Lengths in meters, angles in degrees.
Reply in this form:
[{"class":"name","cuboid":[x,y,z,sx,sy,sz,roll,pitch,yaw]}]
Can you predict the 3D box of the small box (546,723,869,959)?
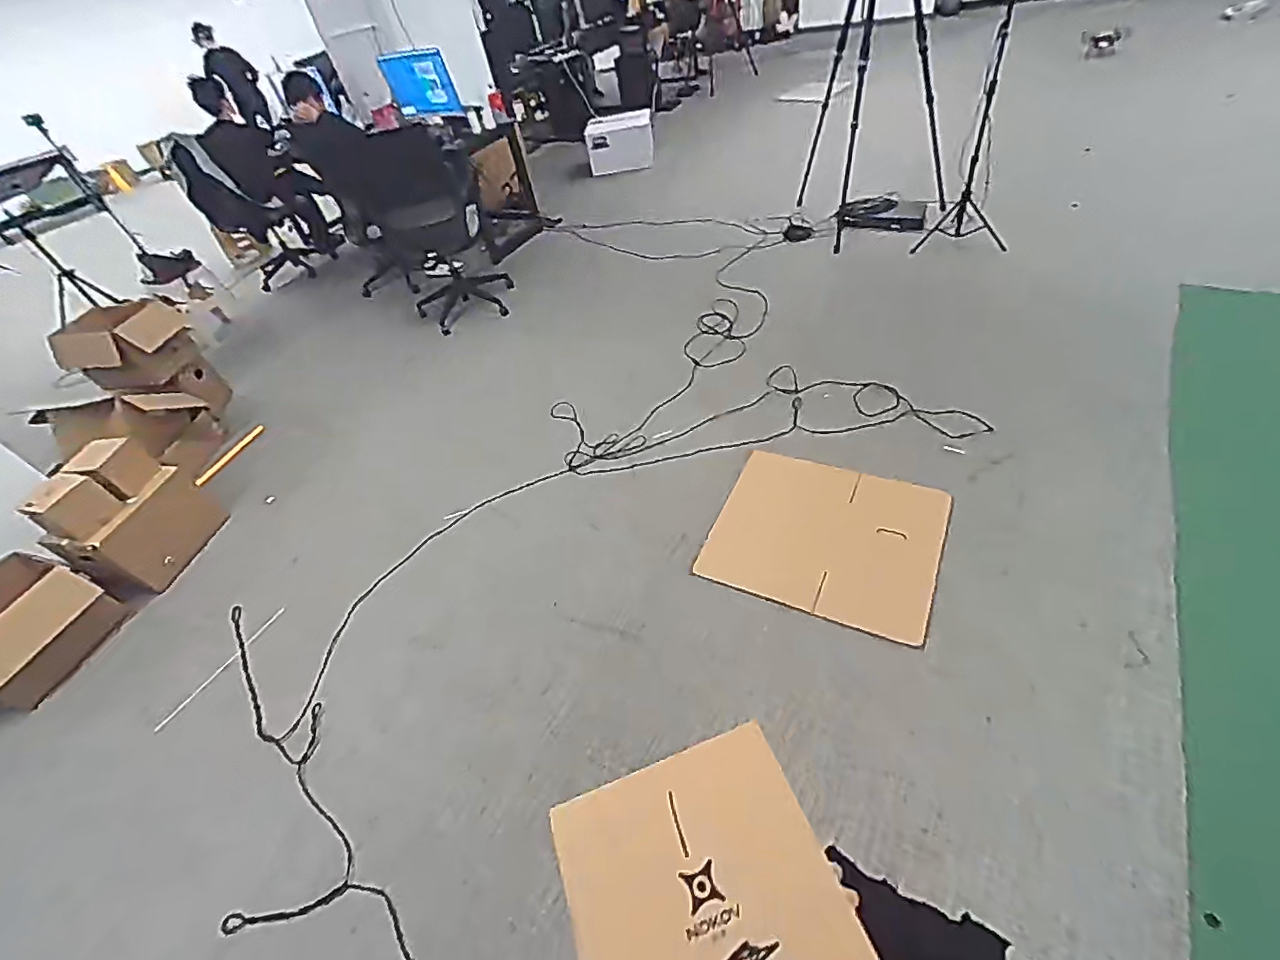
[{"class":"small box","cuboid":[0.046,0.318,0.396,0.168,0.176,0.179,-19,47,-10]}]
